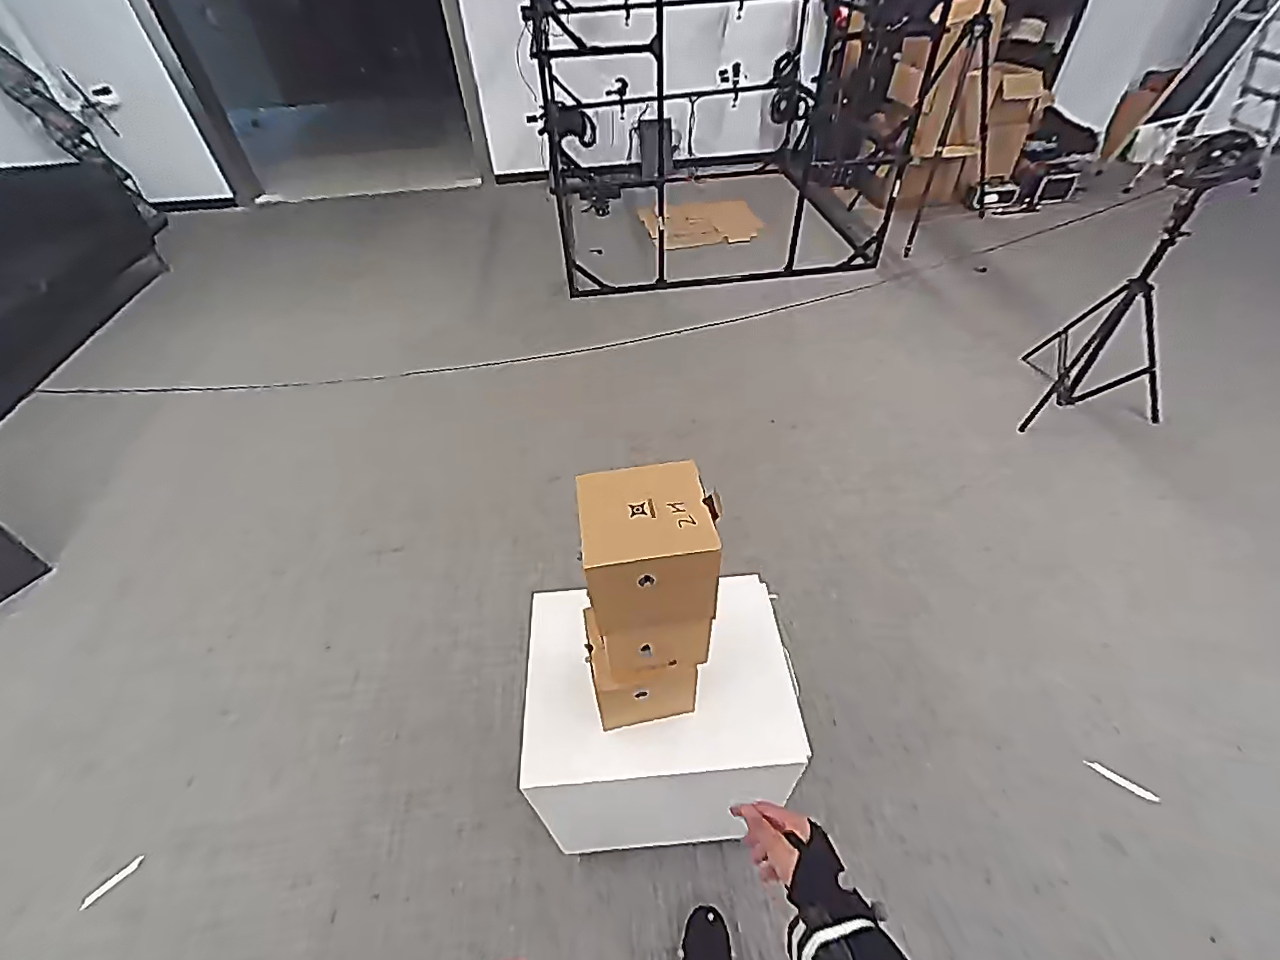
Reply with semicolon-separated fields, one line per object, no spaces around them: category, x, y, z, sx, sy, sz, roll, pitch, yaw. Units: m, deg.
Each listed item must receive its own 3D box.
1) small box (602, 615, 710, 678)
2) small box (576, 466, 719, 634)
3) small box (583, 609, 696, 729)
small box;0.015;0.211;0.902;0.168;0.176;0.179;-9;45;-6
small box;0.009;0.103;0.776;0.179;0.176;0.168;-7;45;-4
small box;-0.002;0.340;1.003;0.179;0.176;0.168;-9;46;-7
